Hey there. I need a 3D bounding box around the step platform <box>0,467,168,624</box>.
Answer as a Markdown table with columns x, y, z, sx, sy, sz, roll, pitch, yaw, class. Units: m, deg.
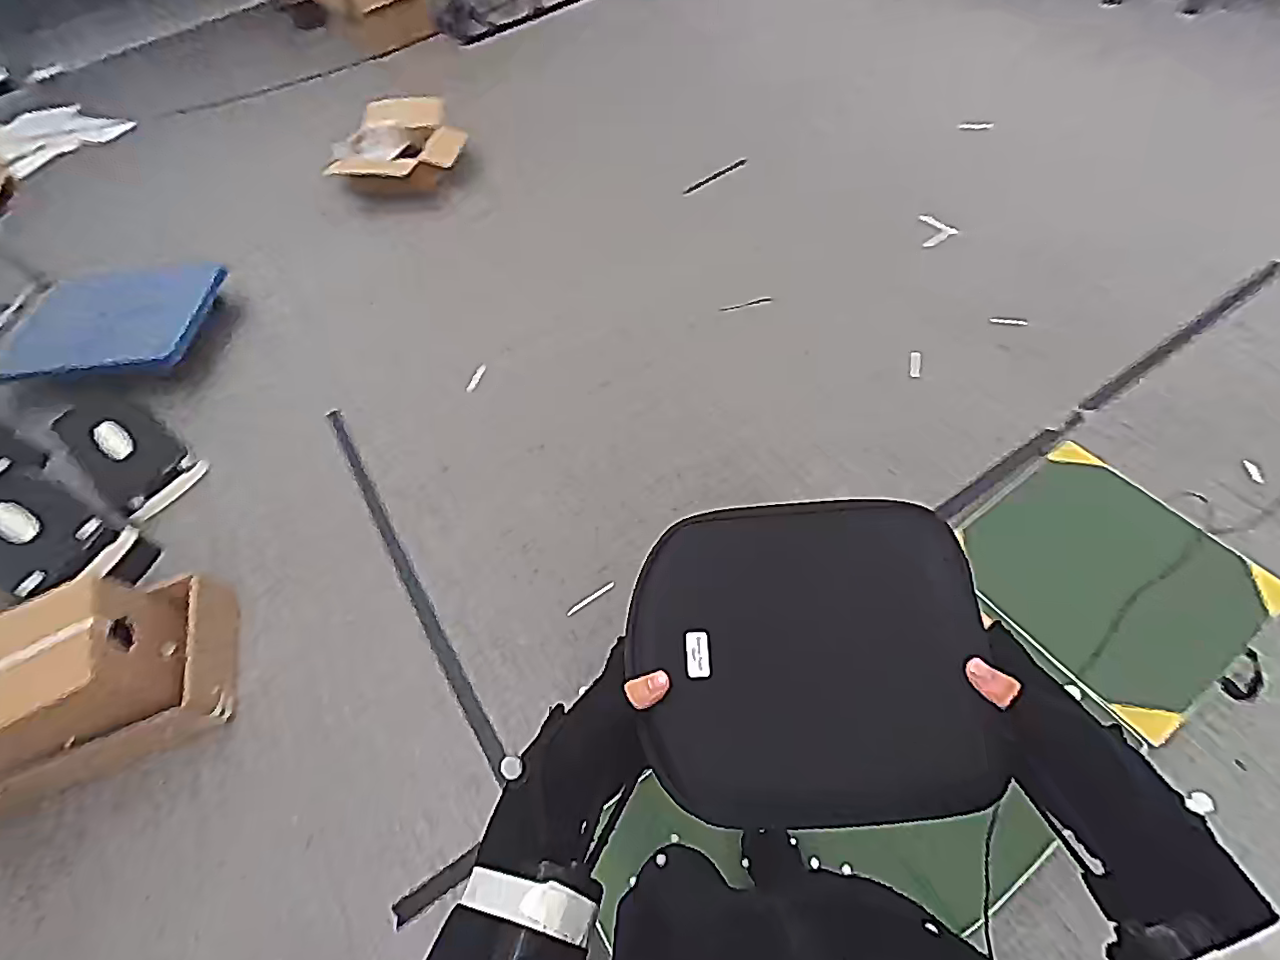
| x | y | z | sx | sy | sz | roll | pitch | yaw | class |
| --- | --- | --- | --- | --- | --- | --- | --- | --- | --- |
| -1.920 | 0.200 | 1.771 | 0.684 | 0.204 | 0.286 | 20 | 63 | 18 | step platform |
